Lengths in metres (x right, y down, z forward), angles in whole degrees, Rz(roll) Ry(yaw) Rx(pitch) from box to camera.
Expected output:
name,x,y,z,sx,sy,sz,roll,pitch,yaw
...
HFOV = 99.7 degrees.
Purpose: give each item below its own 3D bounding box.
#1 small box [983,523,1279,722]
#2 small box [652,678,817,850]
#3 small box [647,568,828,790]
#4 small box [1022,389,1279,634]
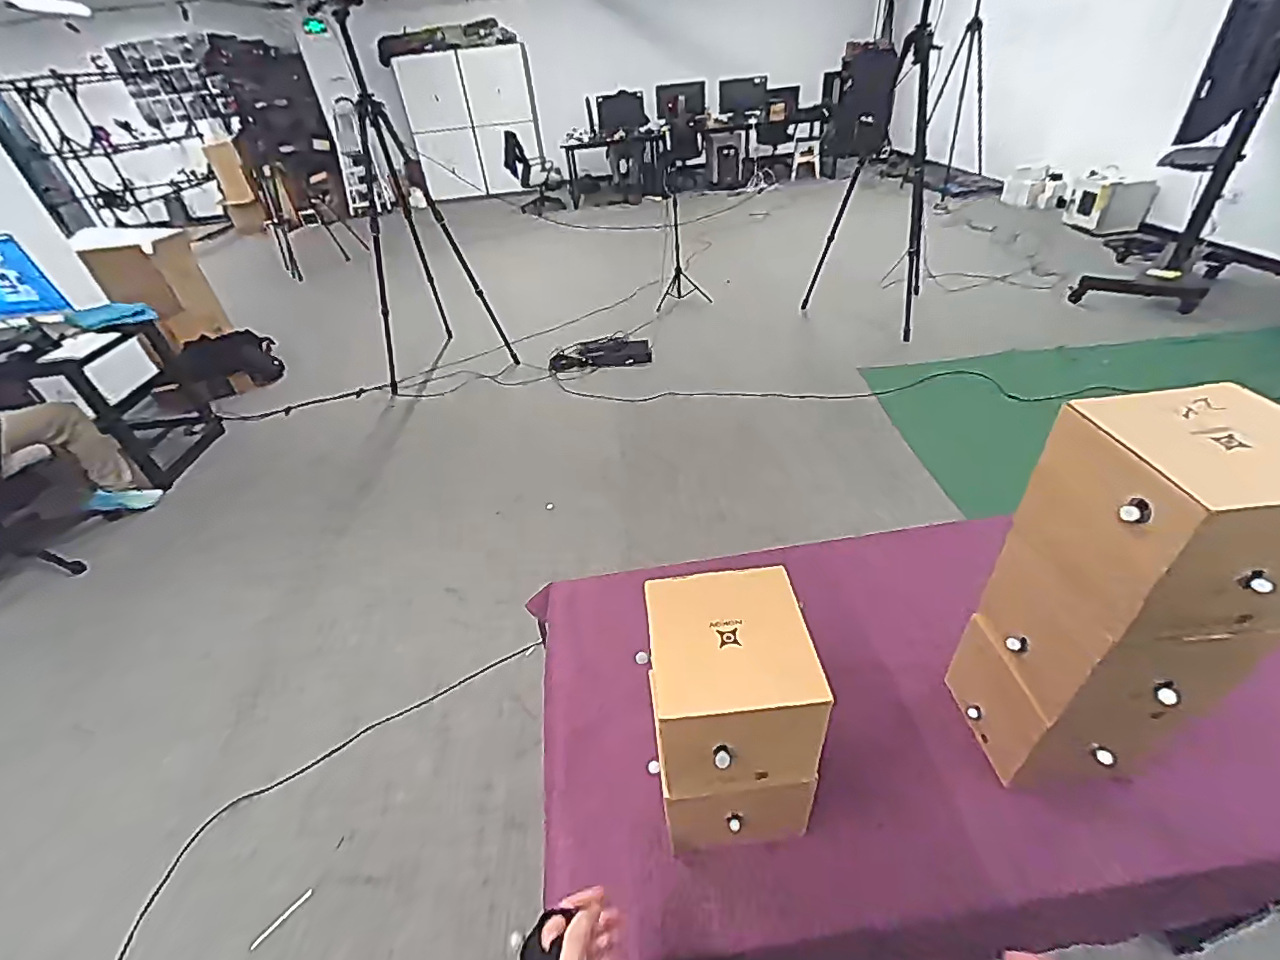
name,x,y,z,sx,sy,sz,roll,pitch,yaw
small box,0.540,0.163,0.626,0.168,0.176,0.179,-4,38,4
small box,0.114,0.358,0.711,0.179,0.176,0.168,-7,37,0
small box,0.101,0.228,0.614,0.168,0.176,0.179,-6,36,1
small box,0.521,0.033,0.524,0.168,0.176,0.179,-5,37,3
